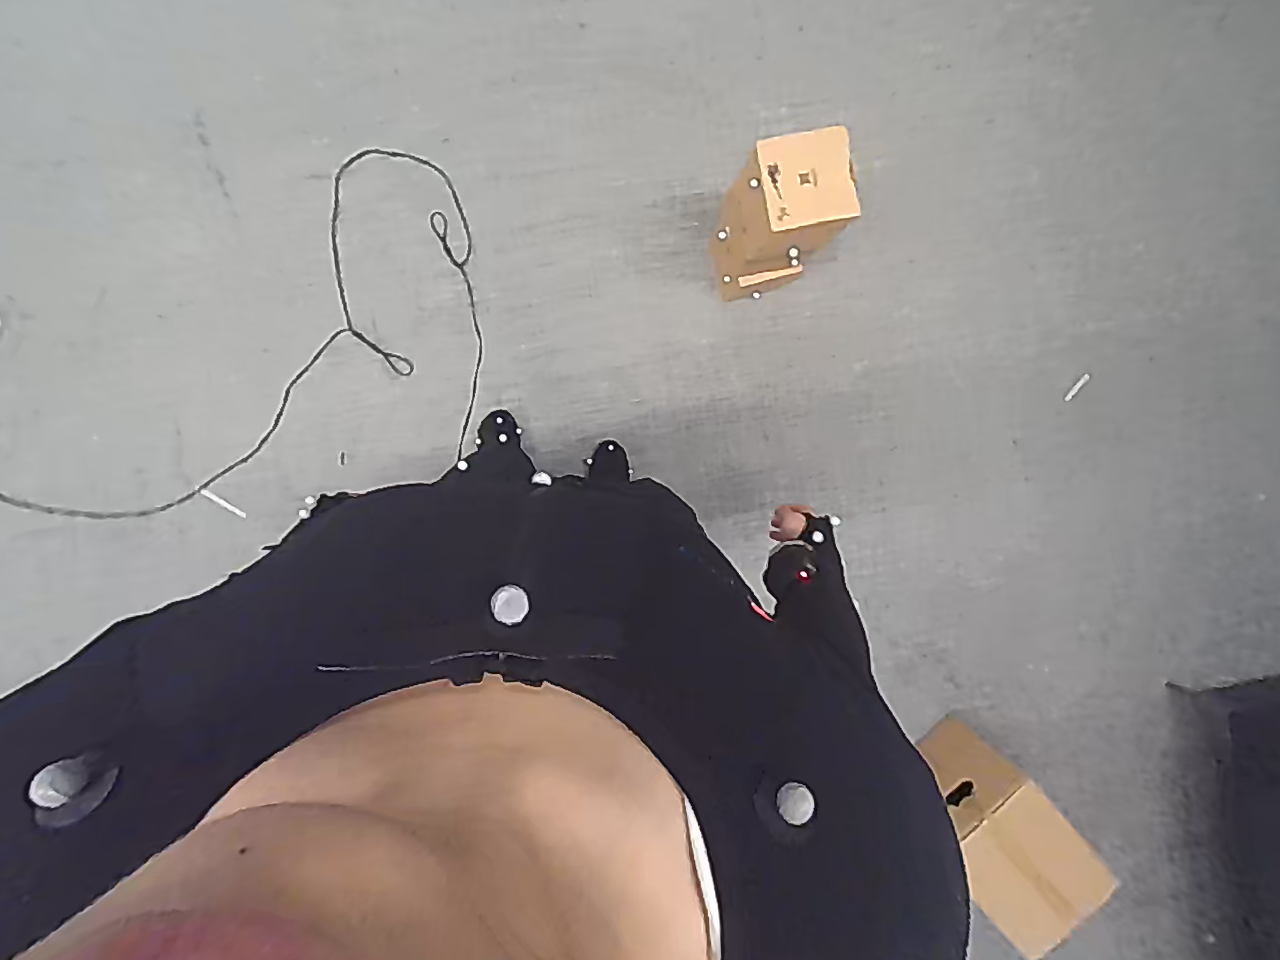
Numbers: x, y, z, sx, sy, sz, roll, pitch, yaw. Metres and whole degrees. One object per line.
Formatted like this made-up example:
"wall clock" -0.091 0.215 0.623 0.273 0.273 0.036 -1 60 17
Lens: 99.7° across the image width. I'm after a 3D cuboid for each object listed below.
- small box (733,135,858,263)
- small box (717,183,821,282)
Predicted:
"small box" 0.302 -0.550 1.077 0.179 0.176 0.168 -12 95 -5
"small box" 0.291 -0.571 1.240 0.179 0.176 0.168 -11 95 -3
